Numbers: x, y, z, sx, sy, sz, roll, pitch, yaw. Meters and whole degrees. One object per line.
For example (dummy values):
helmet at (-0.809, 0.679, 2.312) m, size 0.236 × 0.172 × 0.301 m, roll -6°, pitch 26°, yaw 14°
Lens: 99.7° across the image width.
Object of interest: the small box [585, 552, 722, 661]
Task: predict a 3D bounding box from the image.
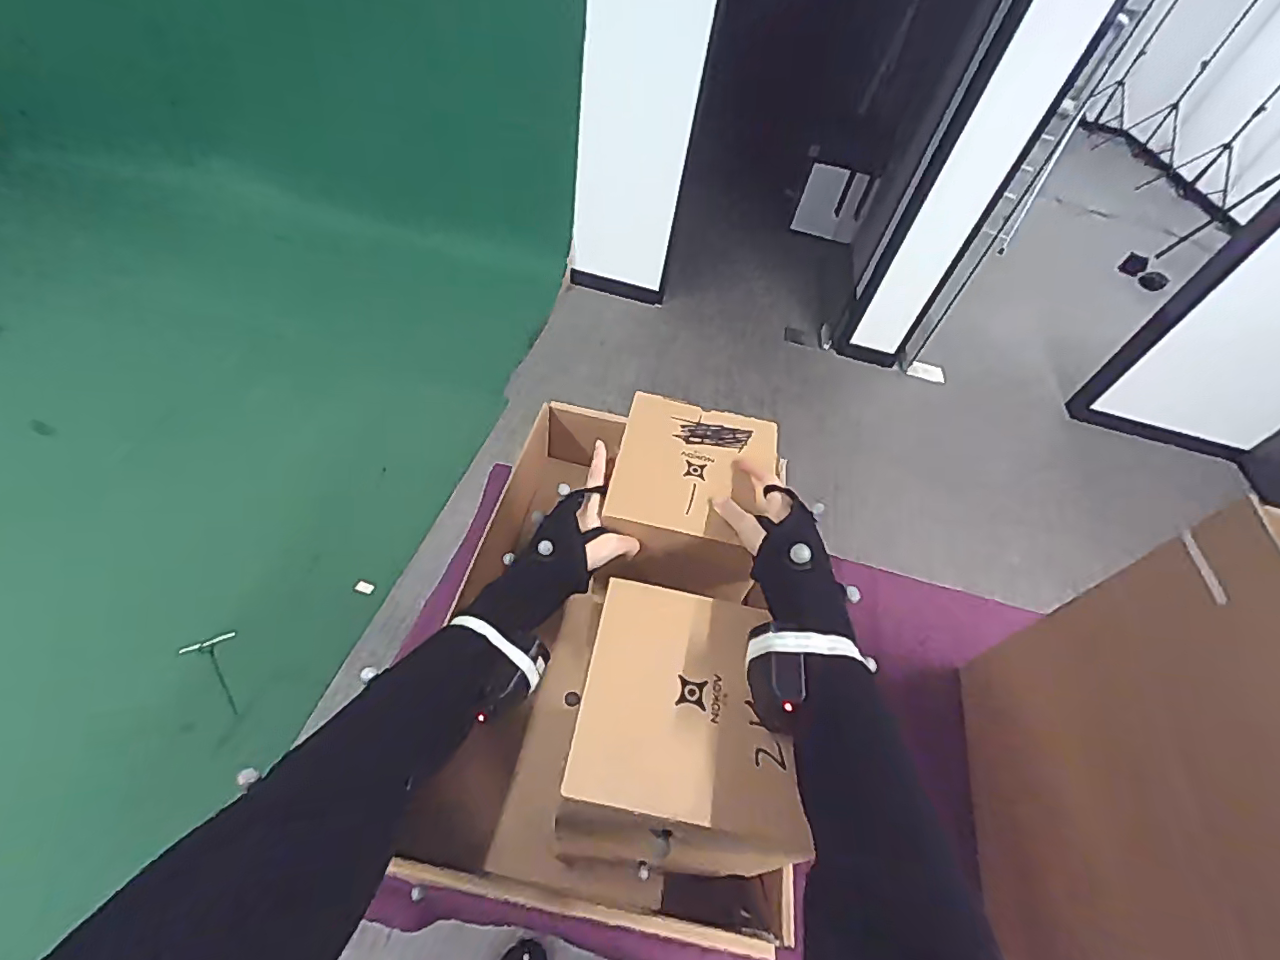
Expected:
small box at (0.020, 0.131, 0.746) m, size 0.168 × 0.176 × 0.179 m, roll 11°, pitch 52°, yaw -1°

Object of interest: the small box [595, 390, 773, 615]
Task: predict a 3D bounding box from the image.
small box at (0.046, 0.030, 0.621) m, size 0.168 × 0.176 × 0.179 m, roll 12°, pitch 53°, yaw 1°
